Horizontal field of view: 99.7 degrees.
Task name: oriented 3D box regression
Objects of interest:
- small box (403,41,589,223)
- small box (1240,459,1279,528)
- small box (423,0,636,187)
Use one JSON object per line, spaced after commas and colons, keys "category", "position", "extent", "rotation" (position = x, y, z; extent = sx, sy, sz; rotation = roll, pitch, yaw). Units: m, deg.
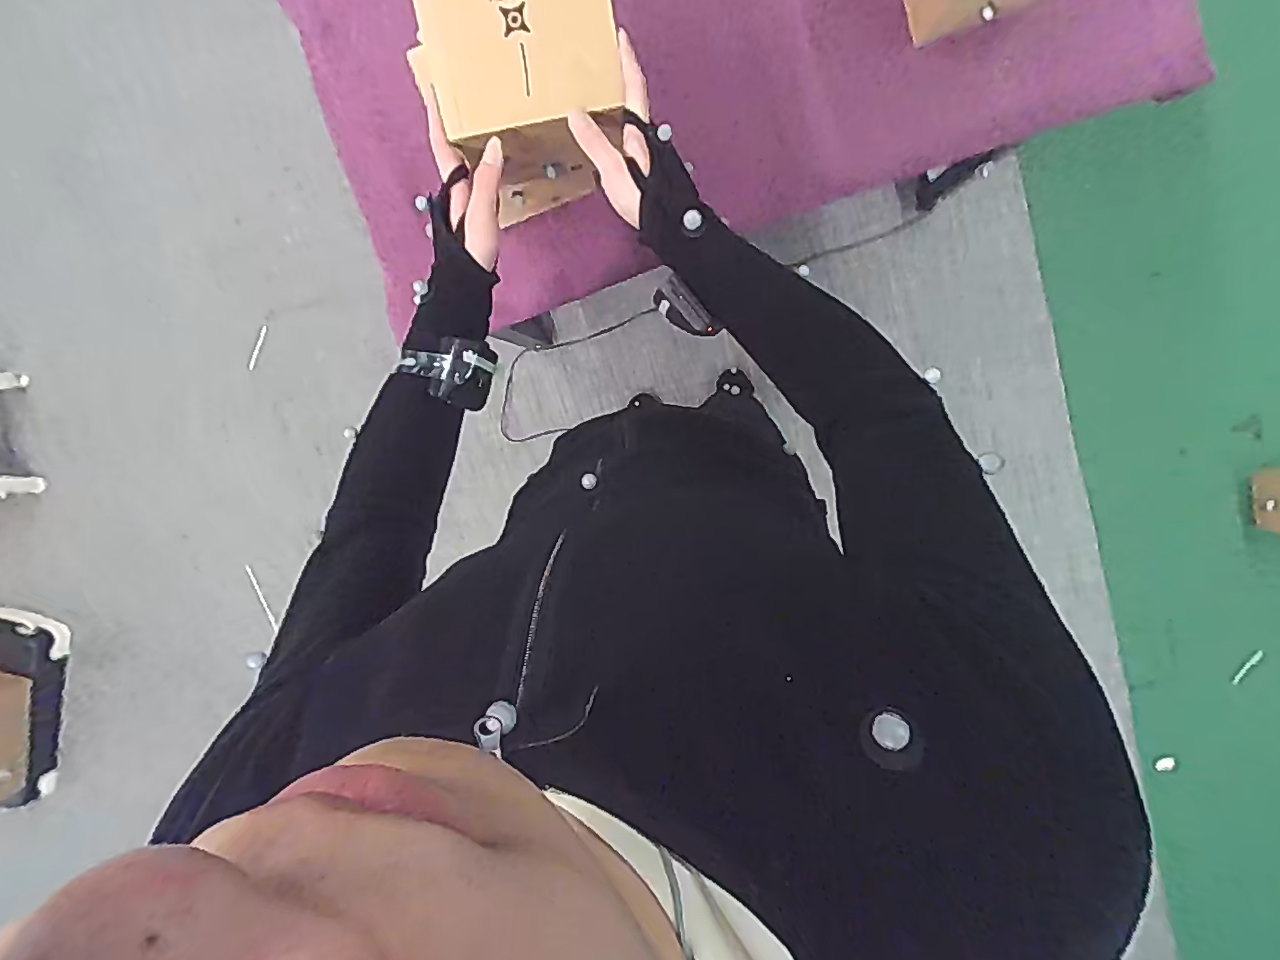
{"category": "small box", "position": [-0.180, -0.477, 0.738], "extent": [0.168, 0.176, 0.179], "rotation": [-20, 96, 5]}
{"category": "small box", "position": [1.800, 0.031, 1.457], "extent": [0.179, 0.176, 0.168], "rotation": [-16, 97, 5]}
{"category": "small box", "position": [-0.100, -0.413, 0.526], "extent": [0.168, 0.176, 0.179], "rotation": [-10, 105, 1]}
